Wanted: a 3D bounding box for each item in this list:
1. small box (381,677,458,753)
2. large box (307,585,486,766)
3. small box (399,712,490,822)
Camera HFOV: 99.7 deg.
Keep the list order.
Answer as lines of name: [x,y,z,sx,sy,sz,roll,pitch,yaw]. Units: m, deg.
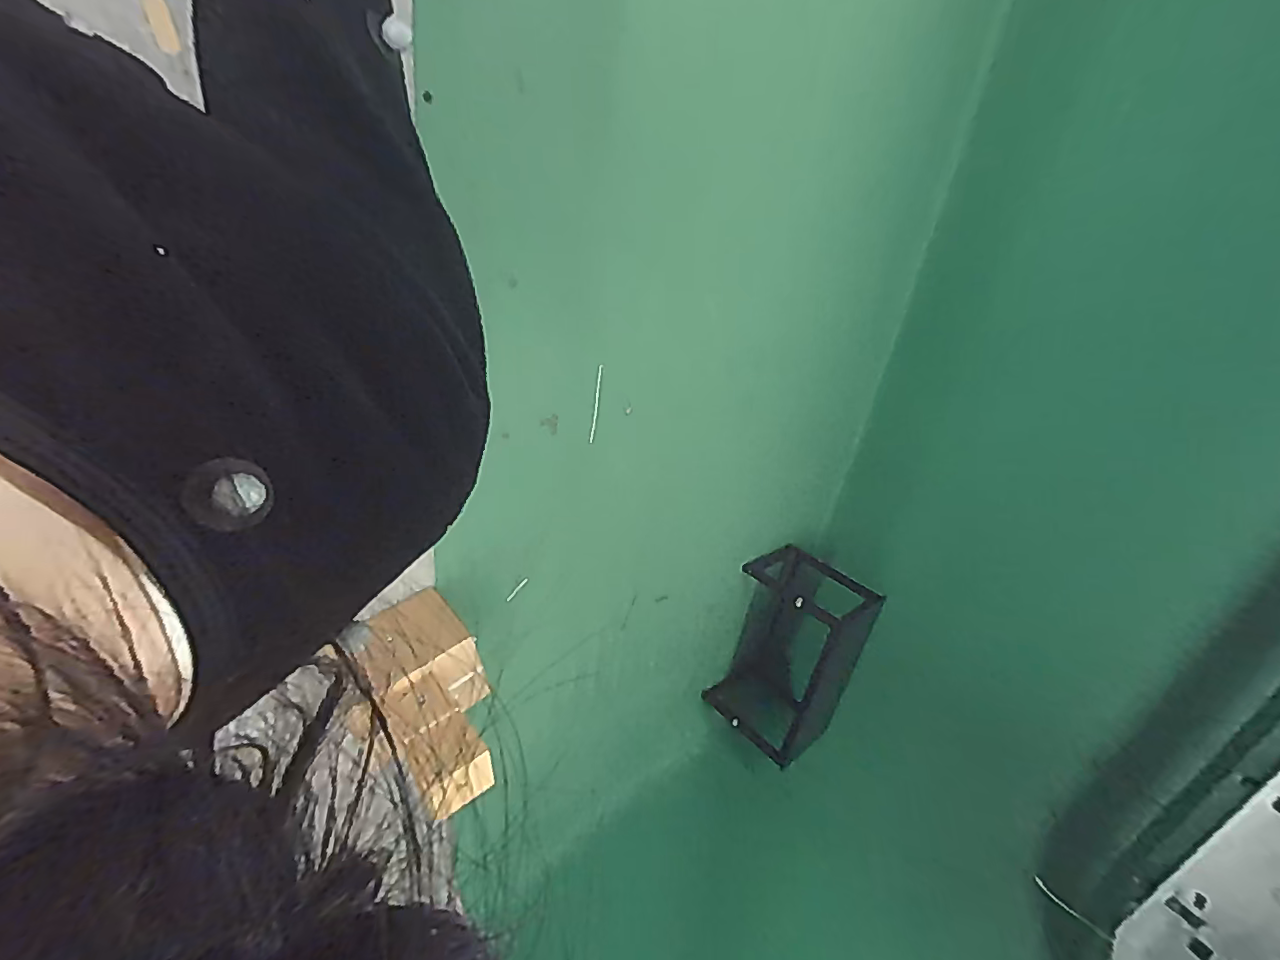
small box: [-0.647,0.715,1.604,0.168,0.176,0.179,-24,130,-35]
large box: [-0.792,0.628,1.787,0.408,0.320,0.320,-30,135,-33]
small box: [-0.541,0.789,1.506,0.179,0.176,0.168,-23,130,-36]
